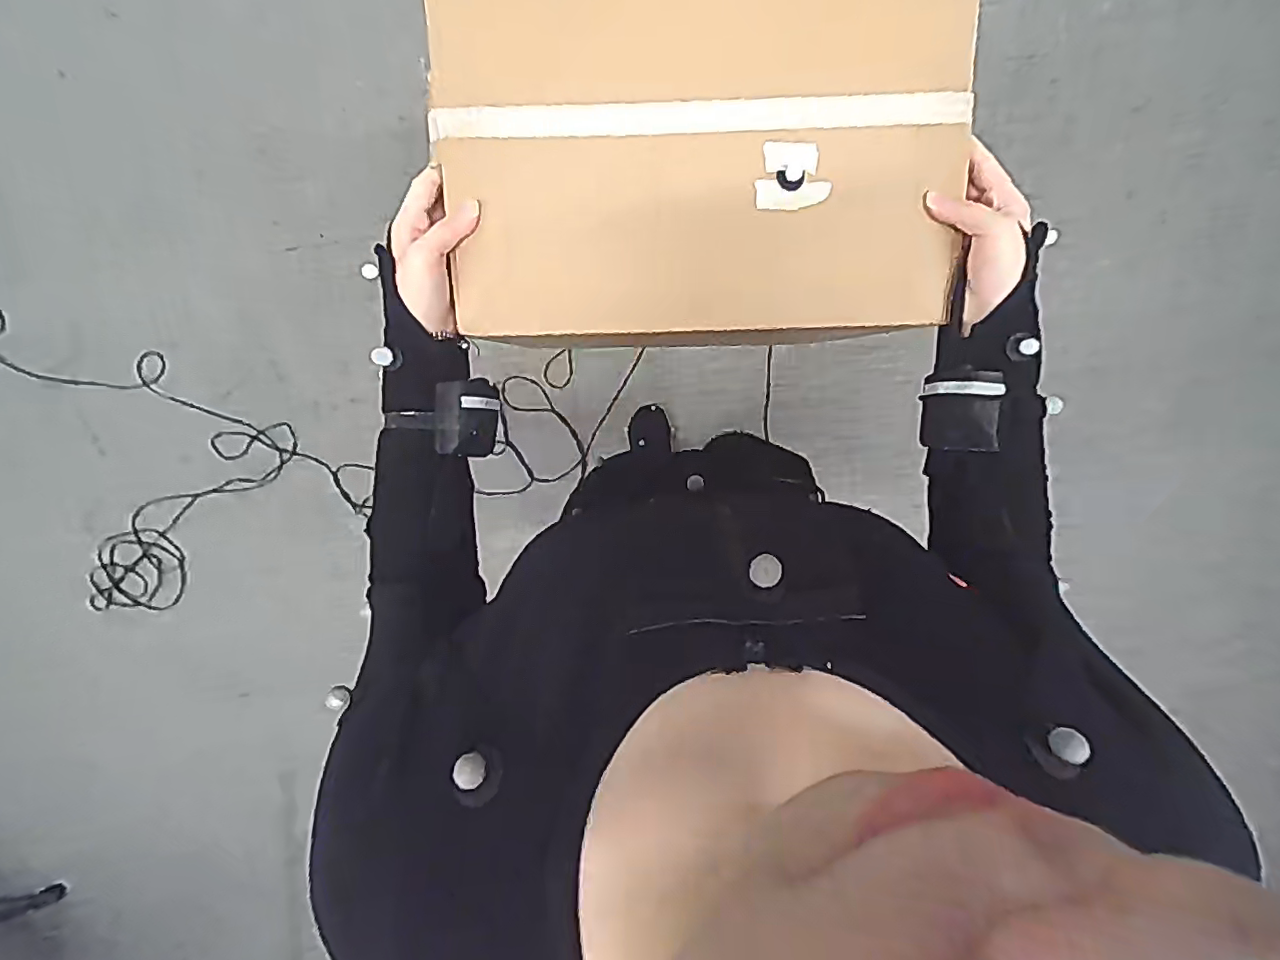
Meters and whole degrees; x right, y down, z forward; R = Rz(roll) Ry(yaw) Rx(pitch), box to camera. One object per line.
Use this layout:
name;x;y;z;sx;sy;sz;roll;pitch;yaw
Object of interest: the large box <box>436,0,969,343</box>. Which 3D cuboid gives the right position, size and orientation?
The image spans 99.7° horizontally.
large box;0.045;-0.315;0.563;0.408;0.320;0.320;-2;102;-1
